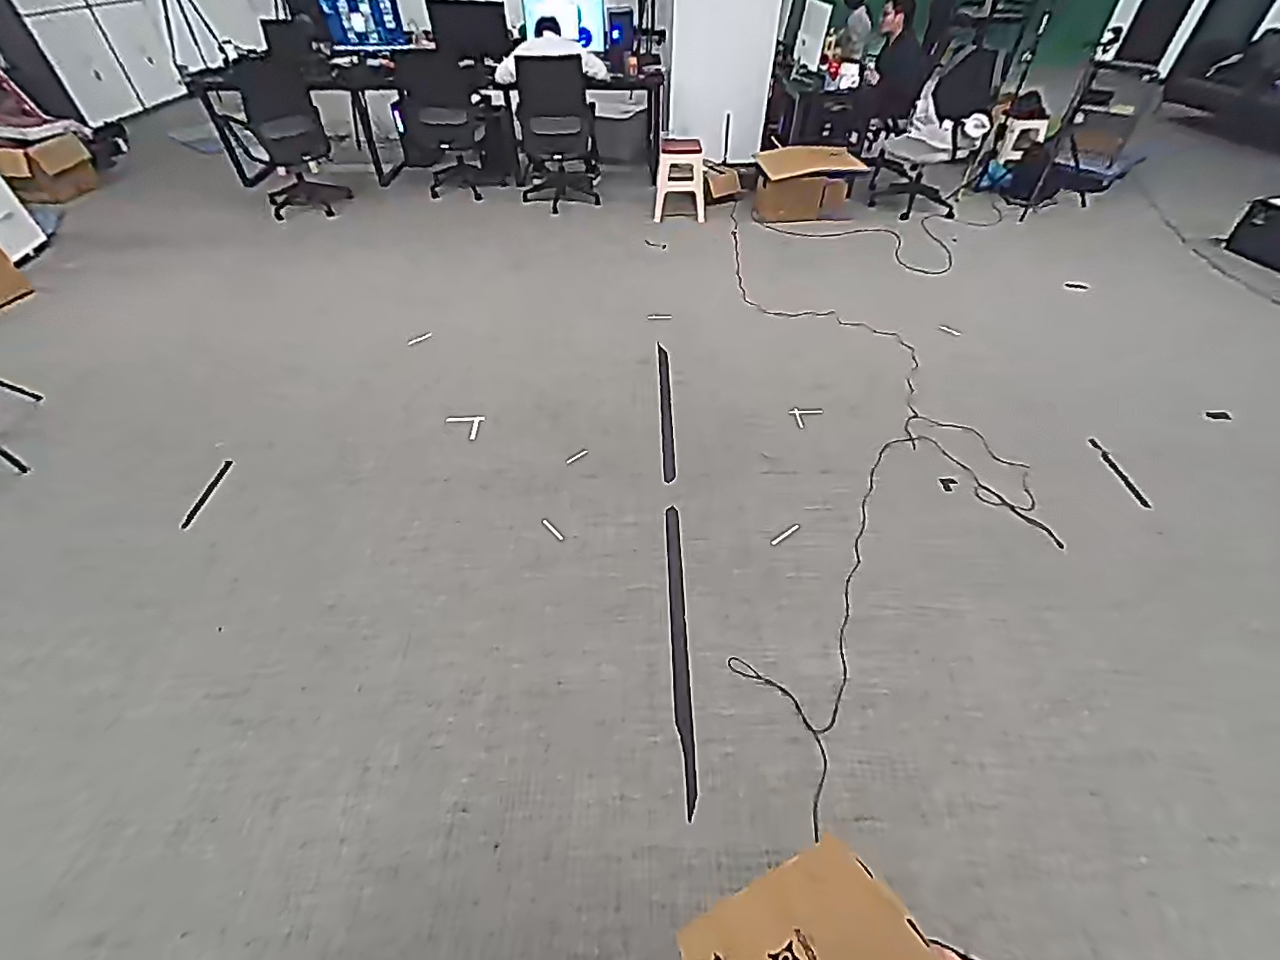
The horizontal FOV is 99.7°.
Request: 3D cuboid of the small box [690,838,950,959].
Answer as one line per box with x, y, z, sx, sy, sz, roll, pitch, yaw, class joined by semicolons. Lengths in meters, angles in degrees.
0.165;0.449;0.431;0.179;0.168;0.176;-25;89;-8;small box
